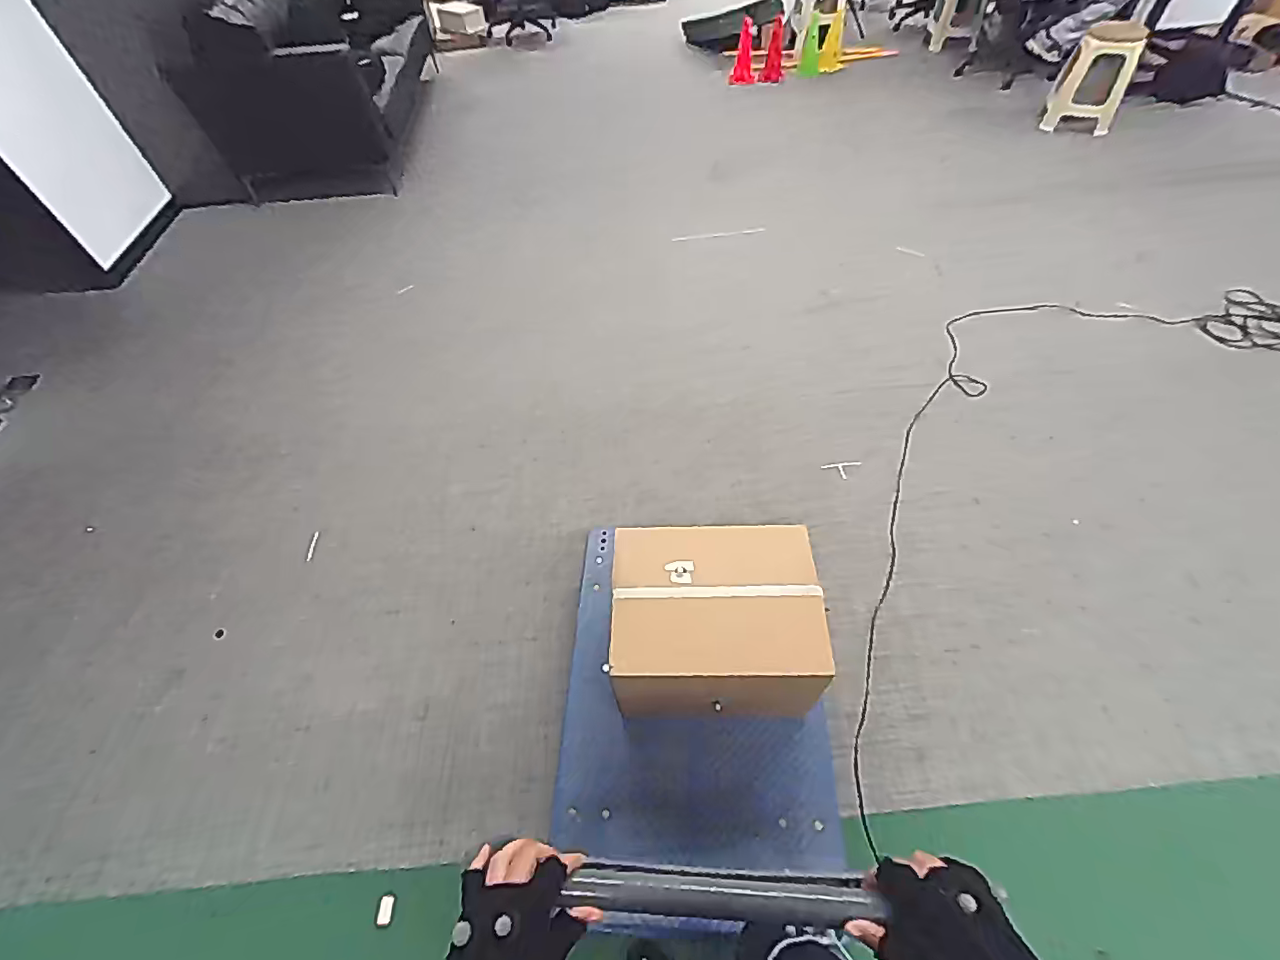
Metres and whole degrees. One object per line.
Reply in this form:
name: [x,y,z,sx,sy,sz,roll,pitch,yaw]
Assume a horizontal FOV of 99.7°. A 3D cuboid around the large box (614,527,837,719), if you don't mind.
large box: [0.163,0.319,1.172,0.408,0.320,0.320,-2,52,3]
